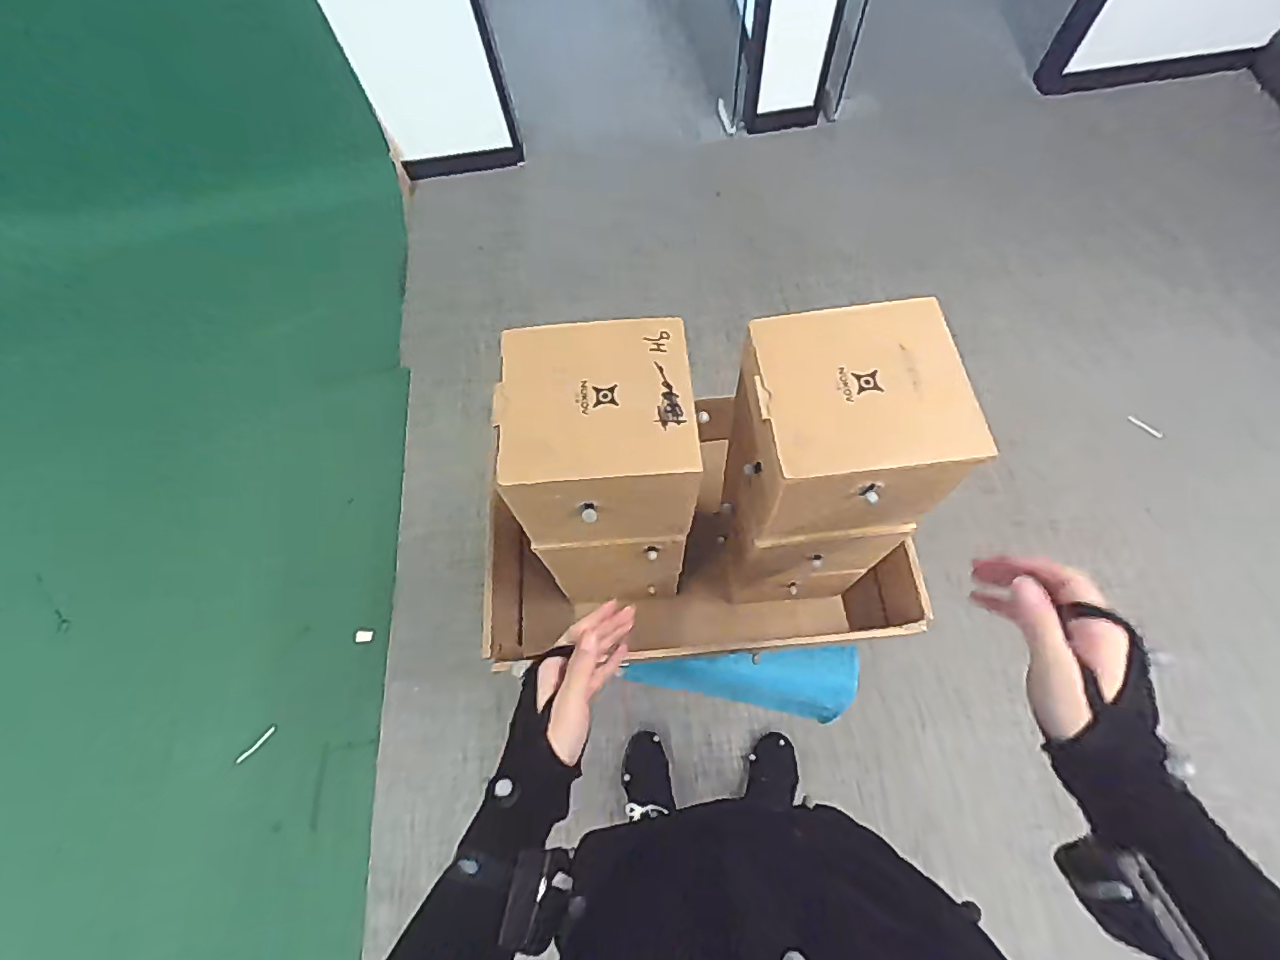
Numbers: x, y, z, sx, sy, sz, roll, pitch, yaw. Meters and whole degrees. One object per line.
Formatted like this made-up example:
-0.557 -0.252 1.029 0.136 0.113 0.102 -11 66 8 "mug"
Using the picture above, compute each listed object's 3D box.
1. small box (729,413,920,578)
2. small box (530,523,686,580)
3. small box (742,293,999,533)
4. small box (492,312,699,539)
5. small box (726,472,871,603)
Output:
0.212 0.019 0.678 0.179 0.176 0.168 -7 65 4 "small box"
-0.036 0.027 0.698 0.179 0.176 0.168 -4 65 -1 "small box"
0.199 -0.054 0.532 0.179 0.176 0.168 -6 66 3 "small box"
-0.037 -0.045 0.550 0.179 0.176 0.168 -5 66 1 "small box"
0.226 0.087 0.826 0.179 0.176 0.168 -5 66 4 "small box"
